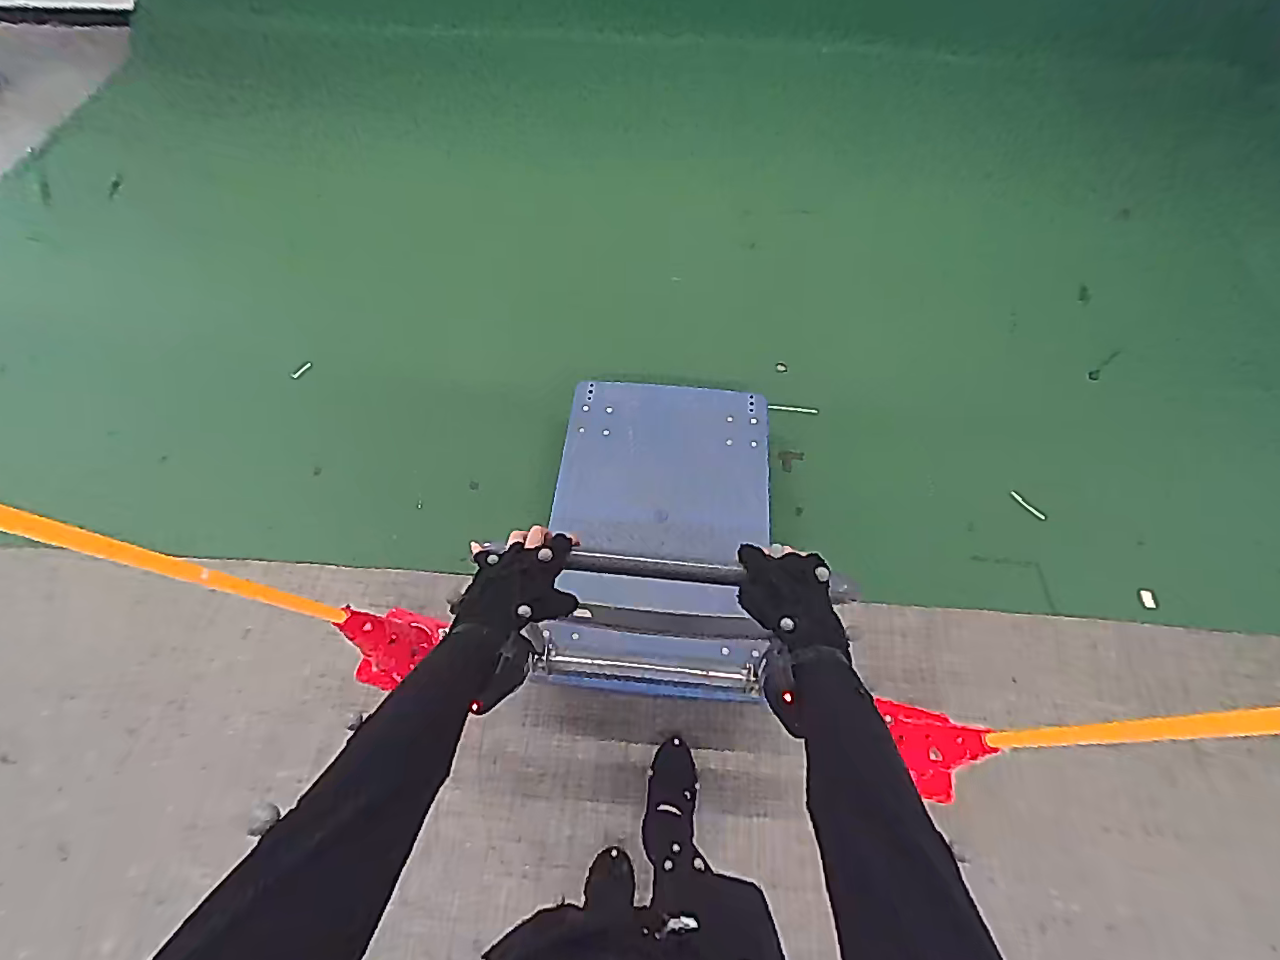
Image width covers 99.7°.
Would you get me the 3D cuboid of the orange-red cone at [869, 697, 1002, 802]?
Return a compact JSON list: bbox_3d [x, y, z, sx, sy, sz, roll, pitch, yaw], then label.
[{"bbox_3d":[0.658,0.567,1.160,0.198,0.360,0.199,13,62,8],"label":"orange-red cone"}]
